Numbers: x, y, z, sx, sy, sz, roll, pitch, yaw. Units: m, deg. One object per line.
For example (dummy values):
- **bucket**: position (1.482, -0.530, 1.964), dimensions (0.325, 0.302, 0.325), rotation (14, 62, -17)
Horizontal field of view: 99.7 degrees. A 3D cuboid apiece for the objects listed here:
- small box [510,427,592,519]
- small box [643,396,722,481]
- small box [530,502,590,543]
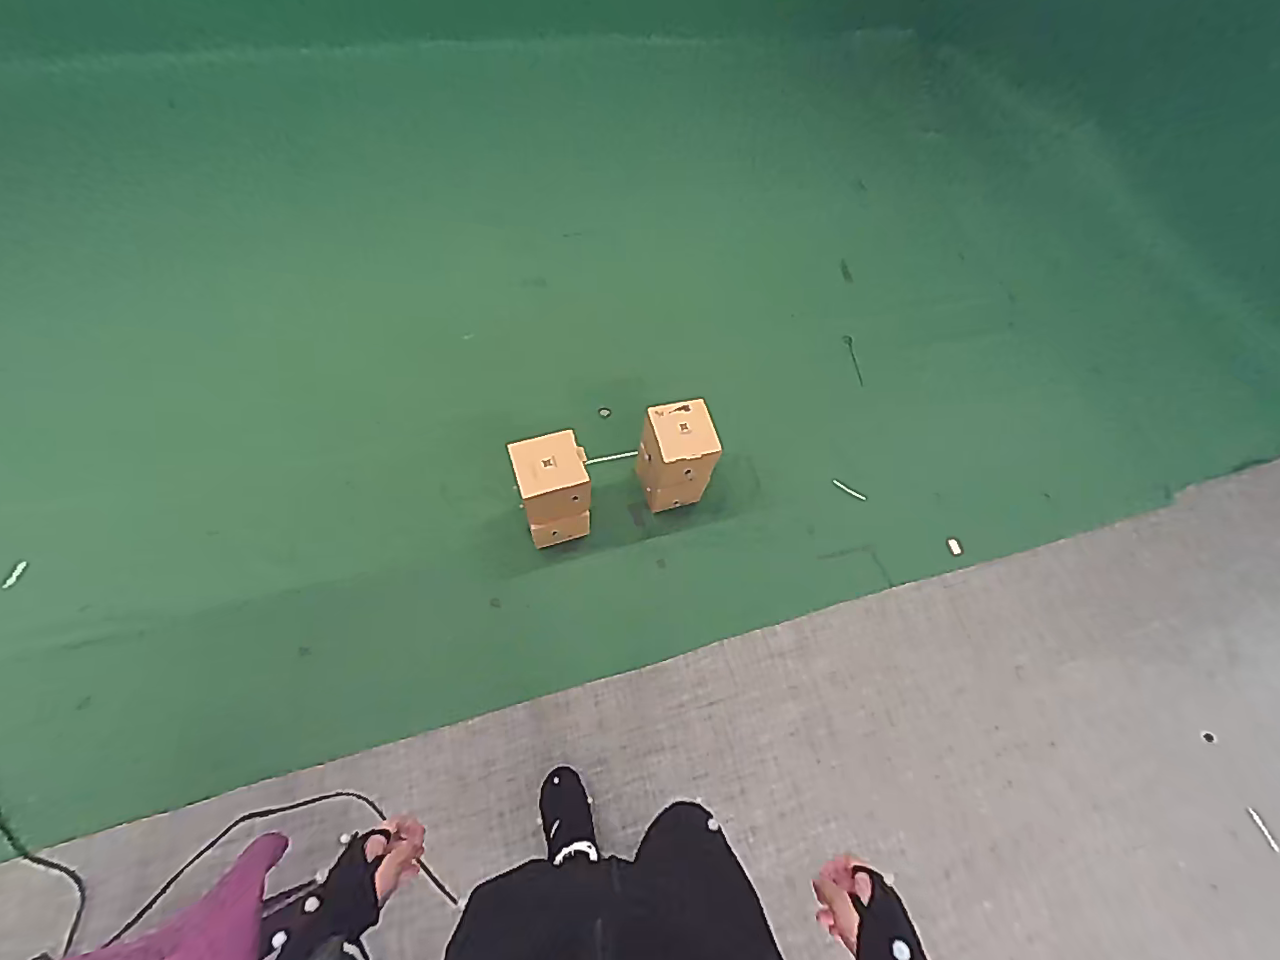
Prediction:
- **small box**: position (-0.235, -0.015, 1.446), dimensions (0.179, 0.176, 0.168), rotation (-16, 66, -12)
- **small box**: position (0.114, -0.109, 1.525), dimensions (0.168, 0.176, 0.179), rotation (-11, 67, -12)
- **small box**: position (-0.246, 0.070, 1.584), dimensions (0.168, 0.176, 0.179), rotation (-16, 66, -13)
